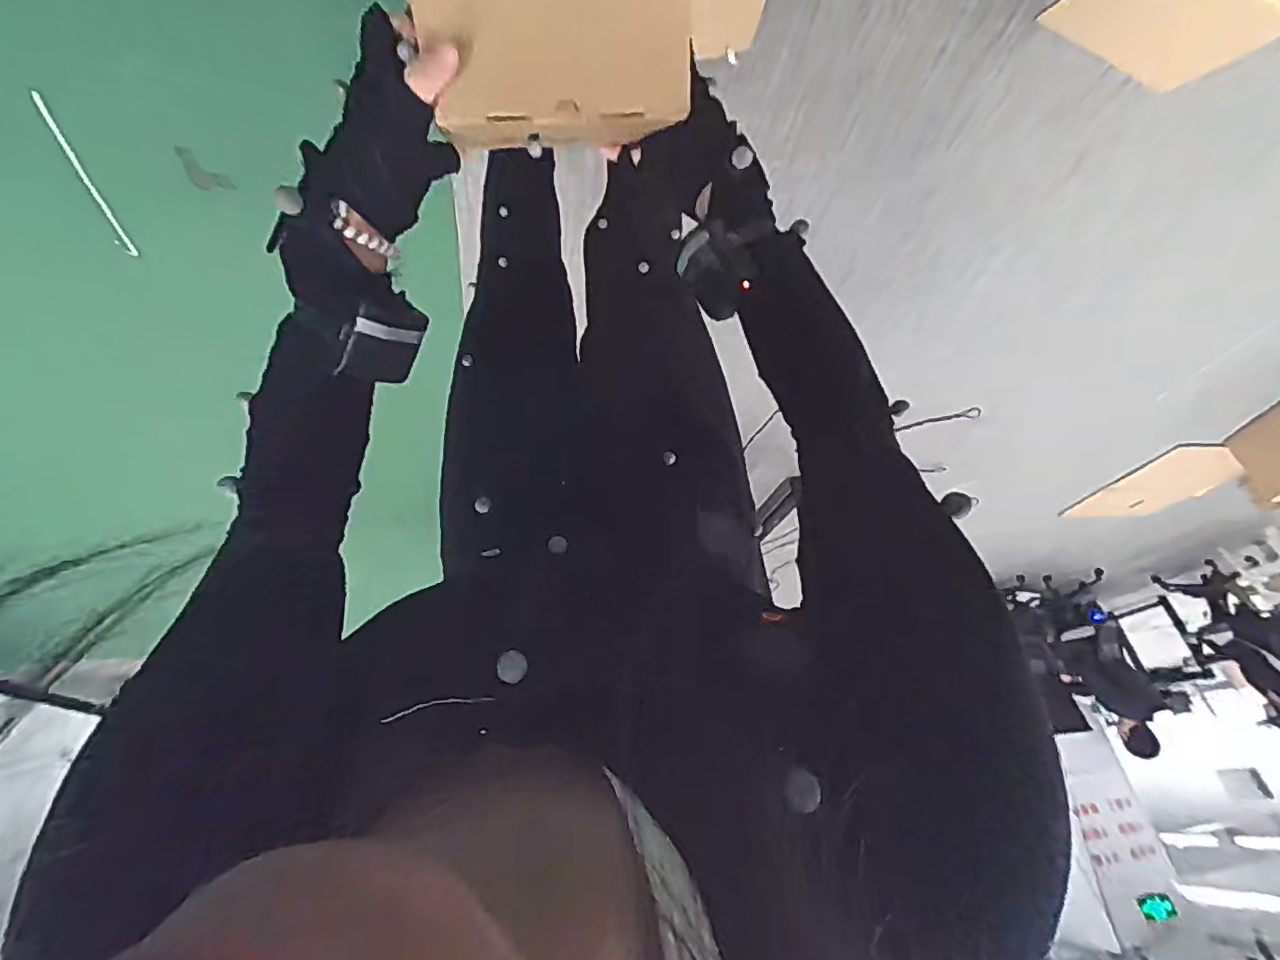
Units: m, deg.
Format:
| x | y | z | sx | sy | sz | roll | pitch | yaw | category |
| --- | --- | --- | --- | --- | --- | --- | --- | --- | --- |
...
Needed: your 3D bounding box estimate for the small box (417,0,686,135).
| x | y | z | sx | sy | sz | roll | pitch | yaw | category |
| --- | --- | --- | --- | --- | --- | --- | --- | --- | --- |
| -0.073 | -0.355 | 0.379 | 0.168 | 0.176 | 0.179 | -10 | 120 | -11 | small box |
